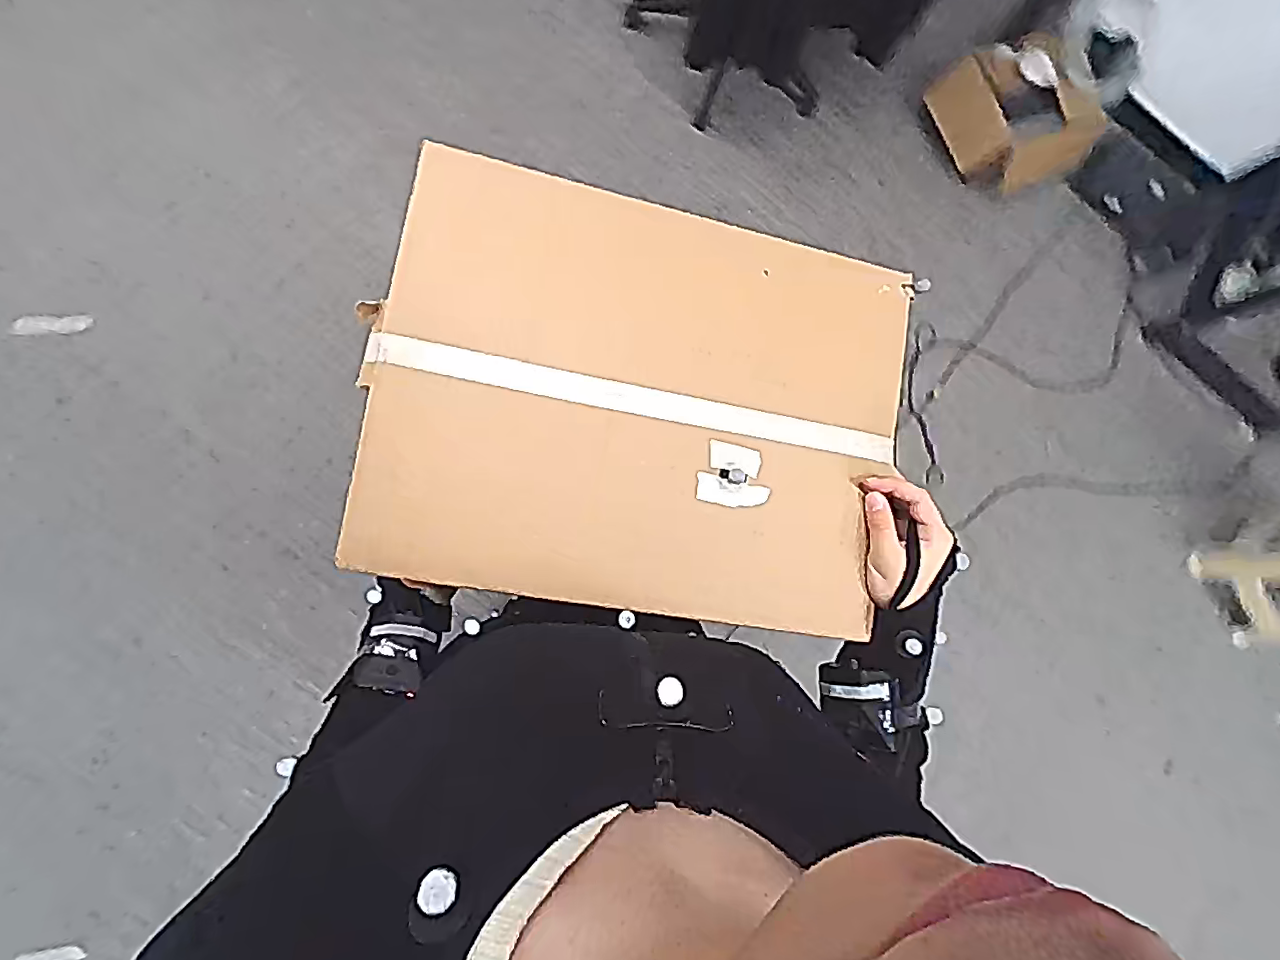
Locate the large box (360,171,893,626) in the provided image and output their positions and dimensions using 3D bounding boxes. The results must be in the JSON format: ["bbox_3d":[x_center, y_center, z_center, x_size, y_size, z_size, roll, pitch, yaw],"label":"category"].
[{"bbox_3d":[-0.018,-0.044,0.569,0.408,0.320,0.320,9,85,-11],"label":"large box"}]
